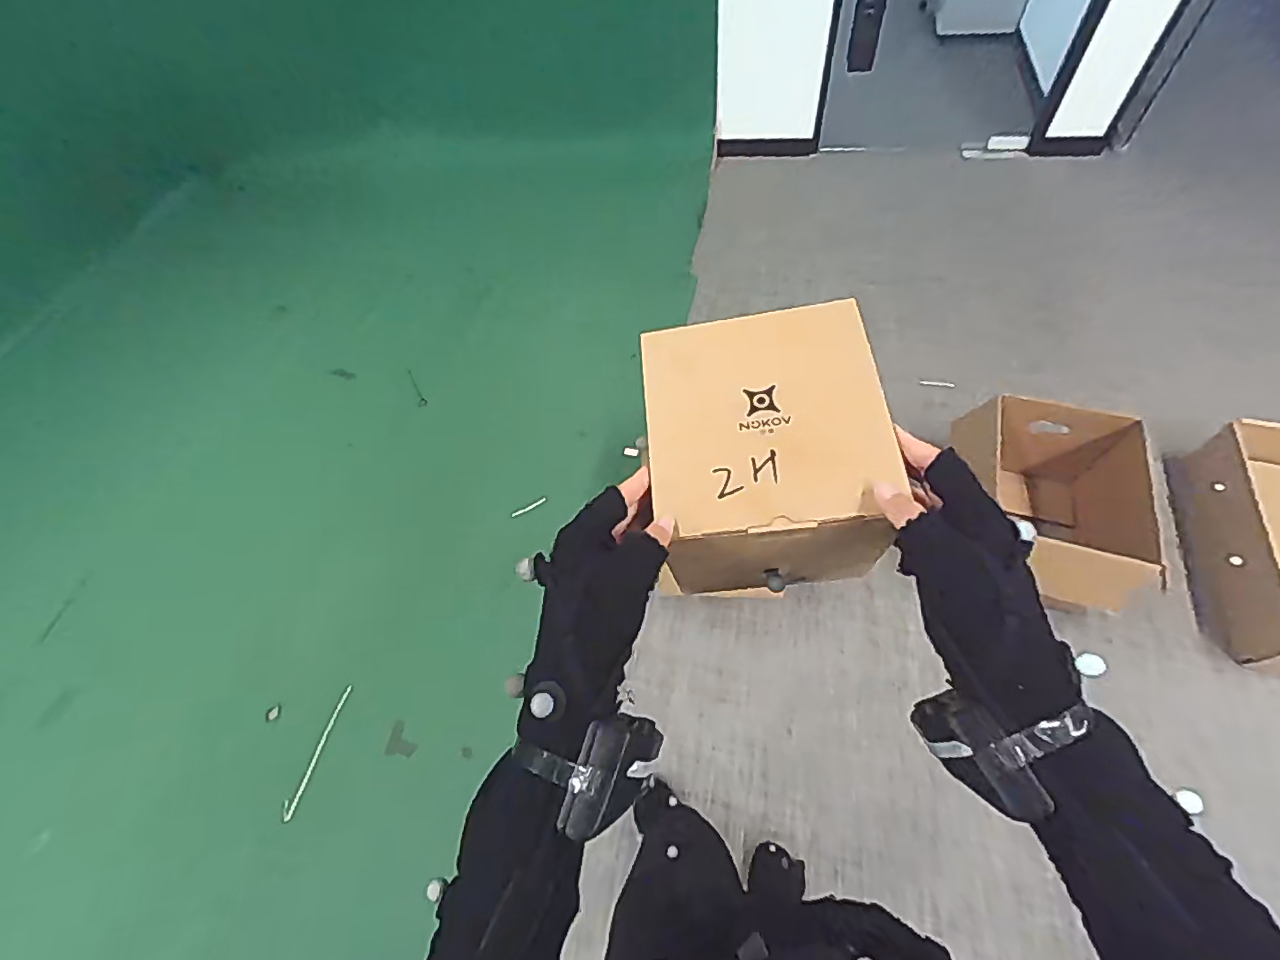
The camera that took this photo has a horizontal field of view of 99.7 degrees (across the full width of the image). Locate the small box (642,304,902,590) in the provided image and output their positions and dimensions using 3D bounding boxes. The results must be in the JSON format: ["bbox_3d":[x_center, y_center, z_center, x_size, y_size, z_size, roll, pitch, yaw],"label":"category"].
[{"bbox_3d":[0.097,-0.016,0.460,0.168,0.176,0.179,-7,65,8],"label":"small box"}]
